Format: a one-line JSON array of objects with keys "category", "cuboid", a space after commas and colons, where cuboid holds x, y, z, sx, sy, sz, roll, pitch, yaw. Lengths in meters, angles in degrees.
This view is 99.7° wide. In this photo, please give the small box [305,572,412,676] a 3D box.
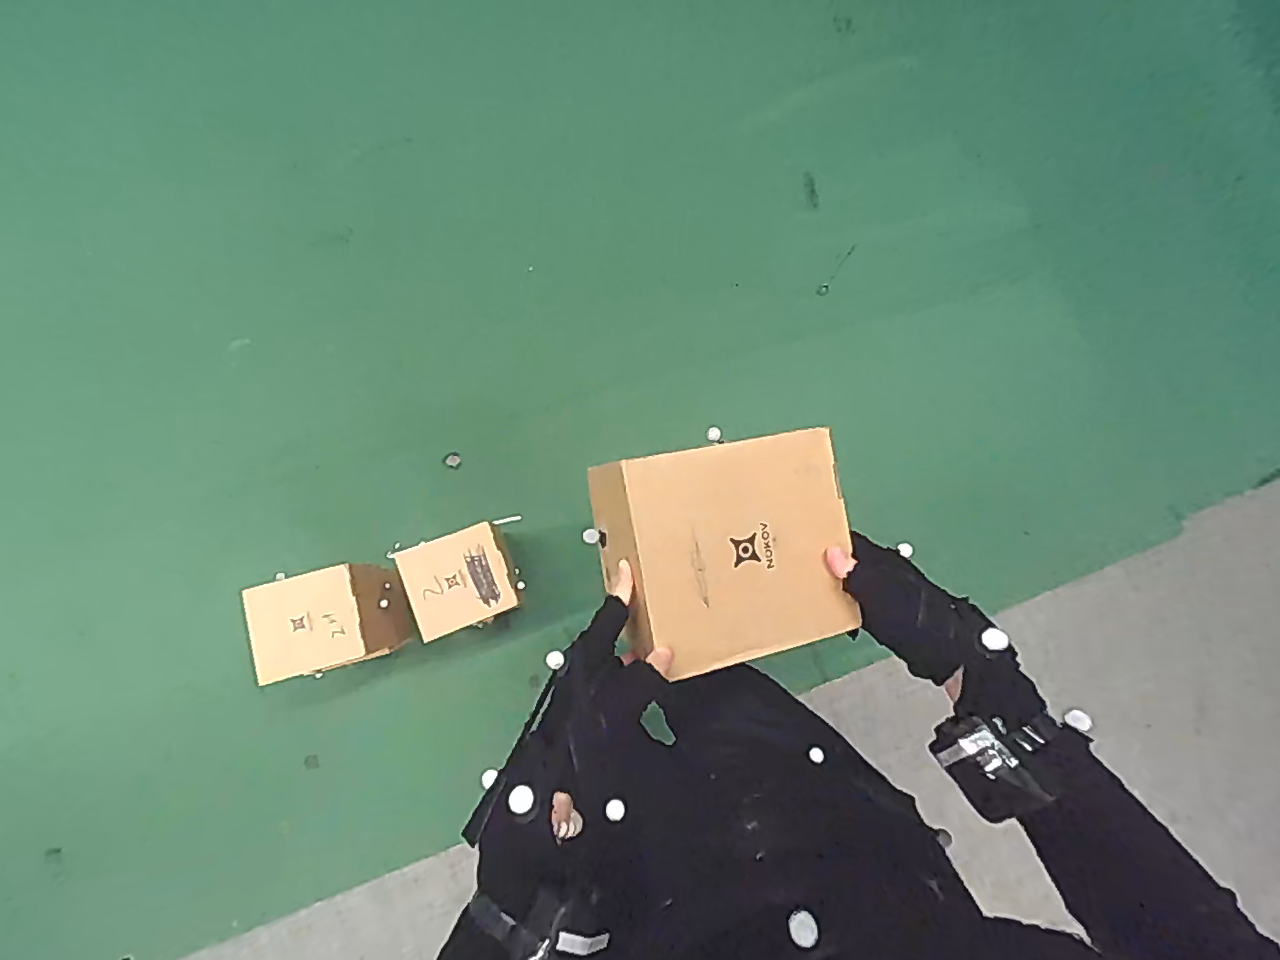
[{"category": "small box", "cuboid": [-0.607, 0.299, 1.163, 0.168, 0.176, 0.179, -13, 82, -9]}]

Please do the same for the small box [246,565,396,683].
[{"category": "small box", "cuboid": [-0.581, 0.260, 1.004, 0.179, 0.176, 0.168, -14, 82, -9]}]
